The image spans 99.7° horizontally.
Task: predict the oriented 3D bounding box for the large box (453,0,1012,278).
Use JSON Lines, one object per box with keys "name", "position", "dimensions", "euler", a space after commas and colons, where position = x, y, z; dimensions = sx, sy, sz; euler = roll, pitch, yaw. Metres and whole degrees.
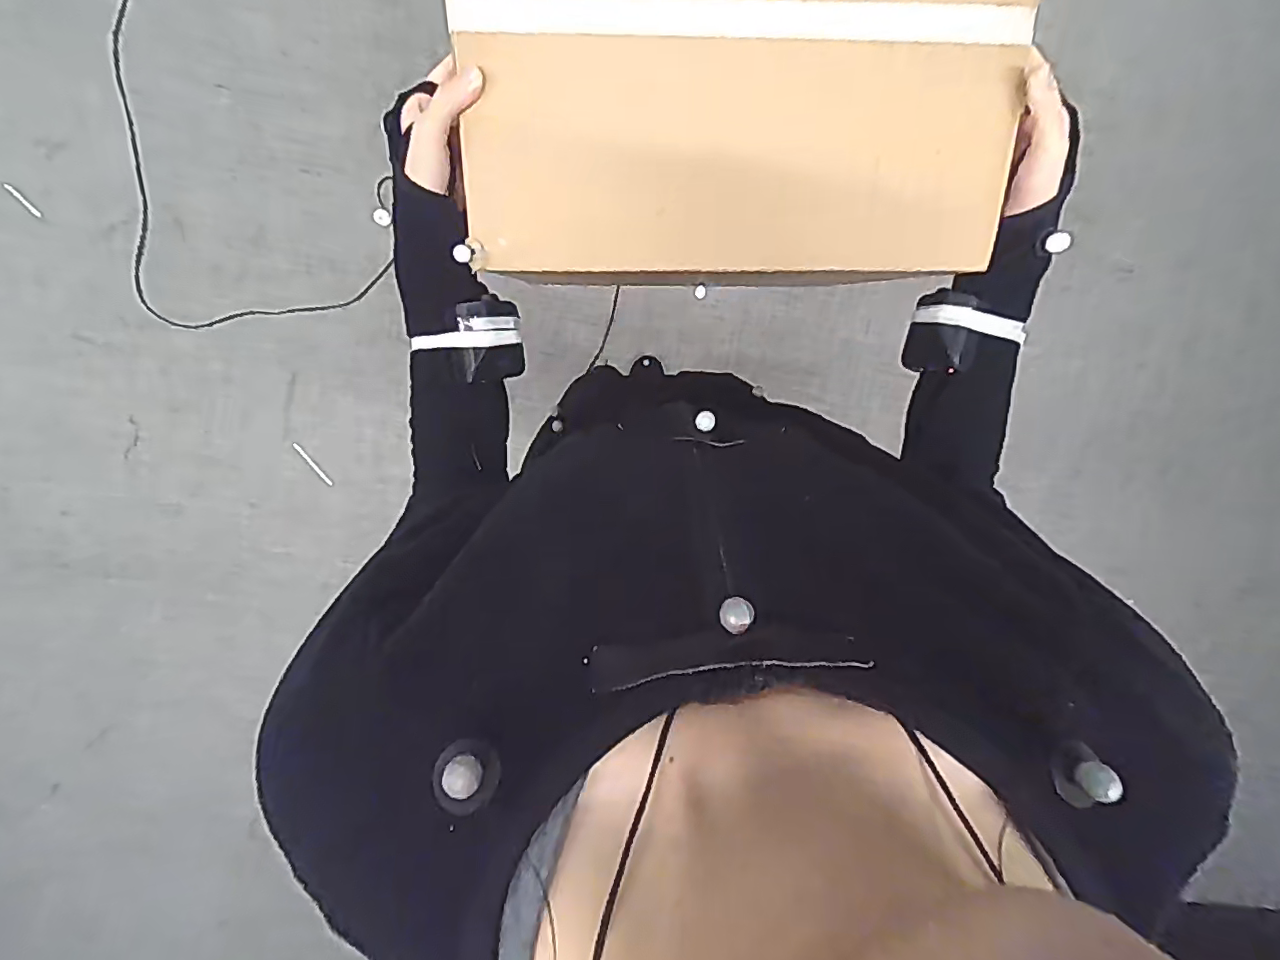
{"name": "large box", "position": [0.062, -0.364, 0.528], "dimensions": [0.408, 0.320, 0.320], "euler": [-1, 108, -3]}
